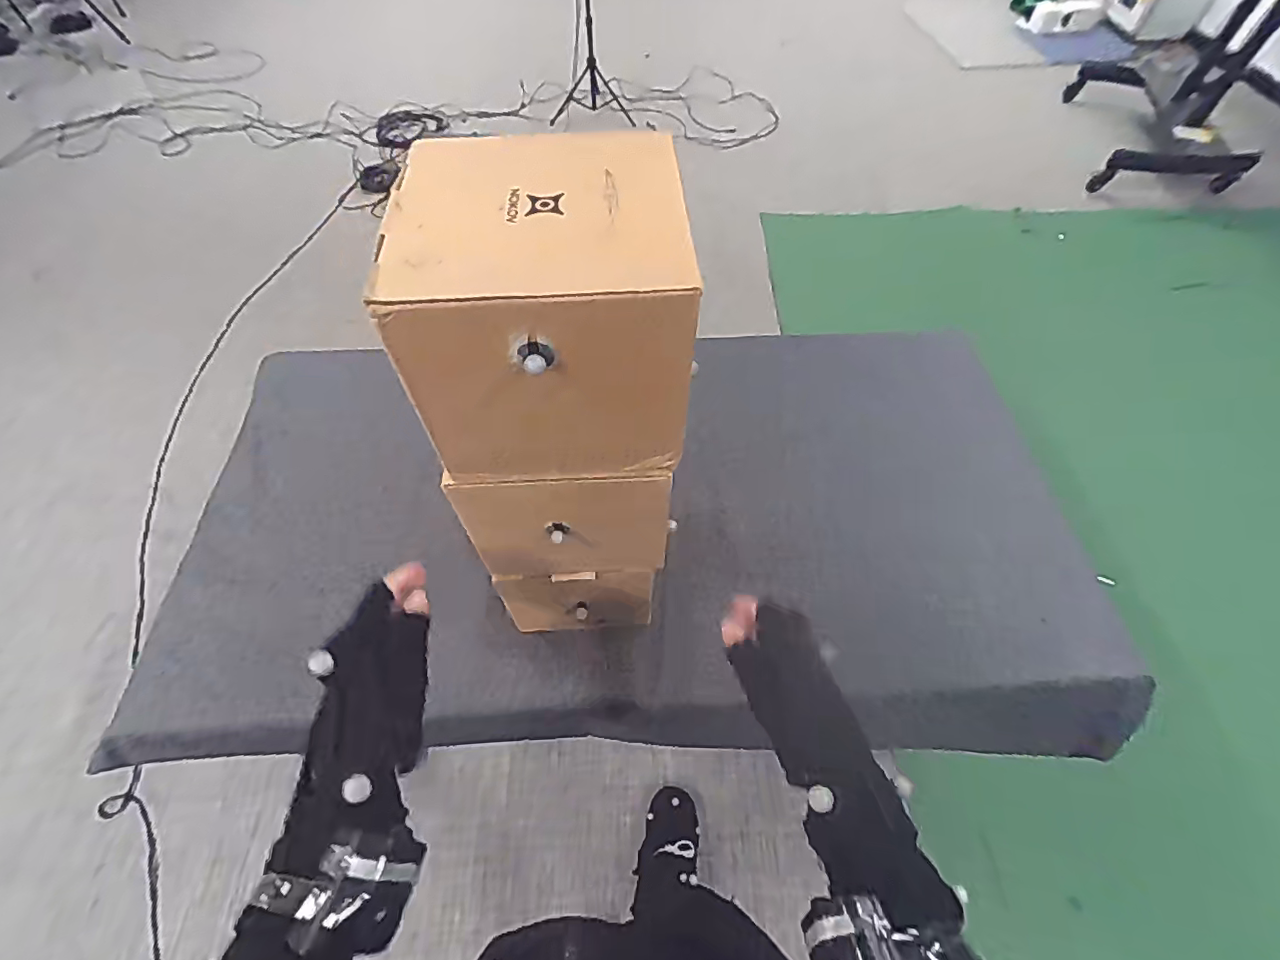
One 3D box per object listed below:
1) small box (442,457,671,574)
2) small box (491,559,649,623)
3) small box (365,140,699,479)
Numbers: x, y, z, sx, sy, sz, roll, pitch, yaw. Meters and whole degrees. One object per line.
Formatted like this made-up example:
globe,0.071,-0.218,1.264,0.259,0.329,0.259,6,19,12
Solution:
small box,-0.067,-0.018,0.519,0.179,0.176,0.168,-2,57,-1
small box,-0.075,0.068,0.659,0.168,0.176,0.179,-3,58,-2
small box,-0.060,-0.111,0.386,0.179,0.176,0.168,-3,58,-3
